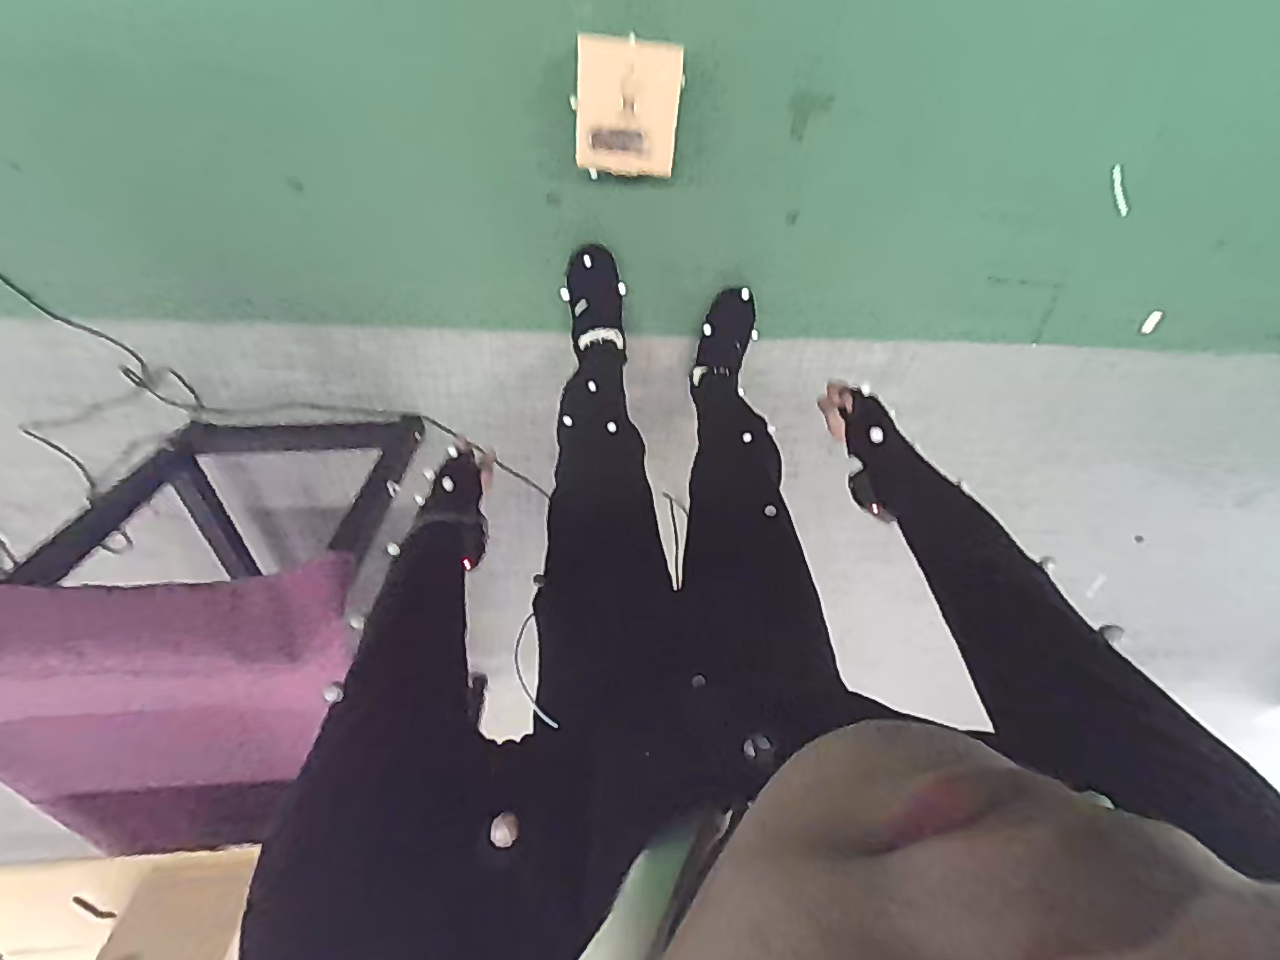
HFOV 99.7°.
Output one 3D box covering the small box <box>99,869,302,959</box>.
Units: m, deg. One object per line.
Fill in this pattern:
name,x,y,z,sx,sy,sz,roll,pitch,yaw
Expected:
small box,-0.624,0.680,0.762,0.179,0.176,0.168,-2,124,-3
